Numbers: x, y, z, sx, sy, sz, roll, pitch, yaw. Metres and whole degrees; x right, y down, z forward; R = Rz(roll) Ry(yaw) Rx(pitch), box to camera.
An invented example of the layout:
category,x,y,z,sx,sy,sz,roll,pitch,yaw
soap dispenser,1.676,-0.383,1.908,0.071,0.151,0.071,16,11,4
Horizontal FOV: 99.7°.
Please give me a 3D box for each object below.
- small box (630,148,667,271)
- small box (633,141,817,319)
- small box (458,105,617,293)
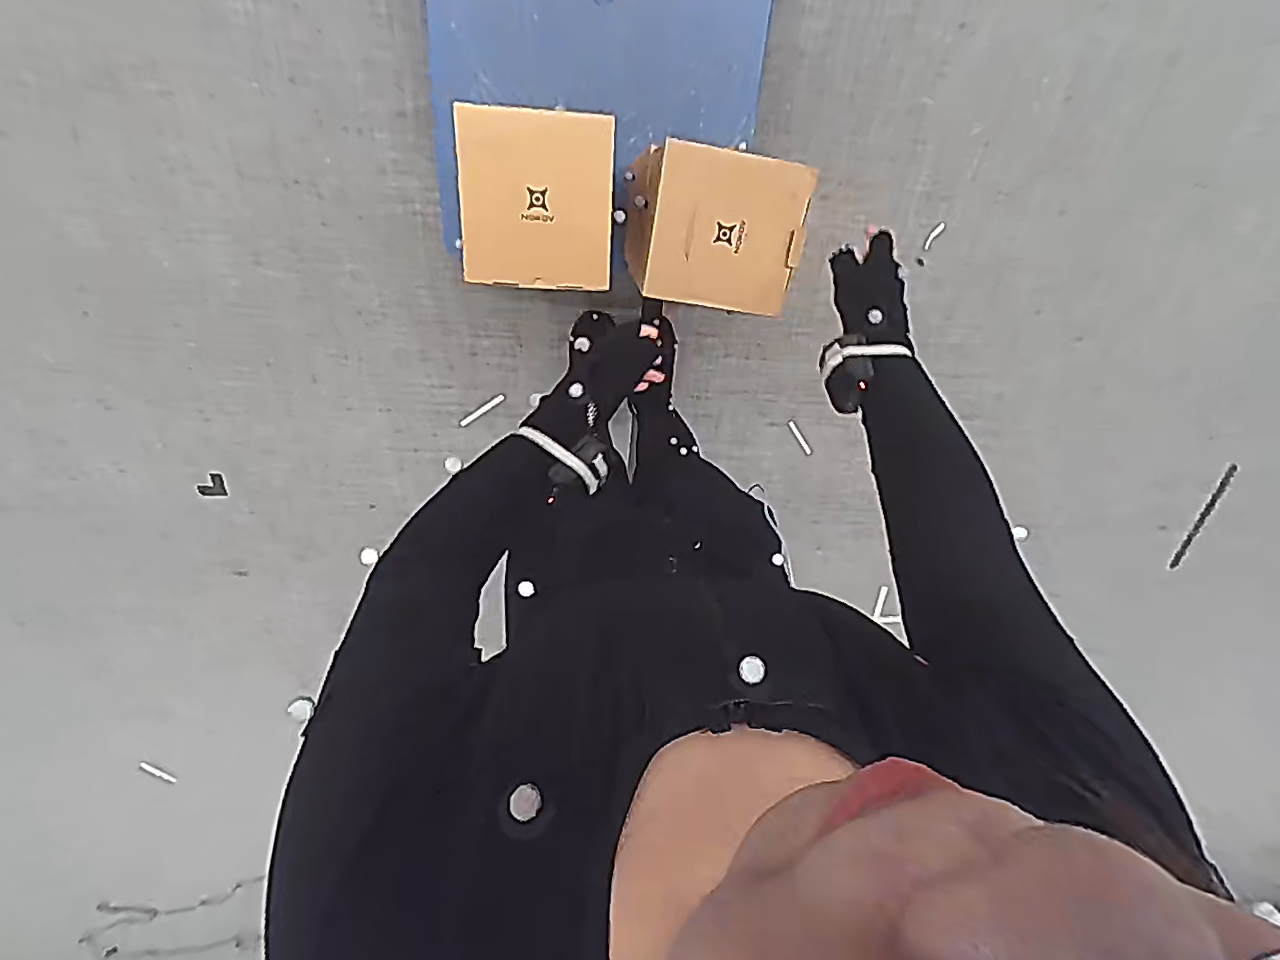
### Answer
category,x,y,z,sx,sy,sz,roll,pitch,yaw
small box,0.076,-0.396,0.838,0.168,0.176,0.179,4,117,-7
small box,0.094,-0.318,0.695,0.179,0.176,0.168,7,115,-8
small box,-0.119,-0.337,0.665,0.168,0.176,0.179,1,117,-6
